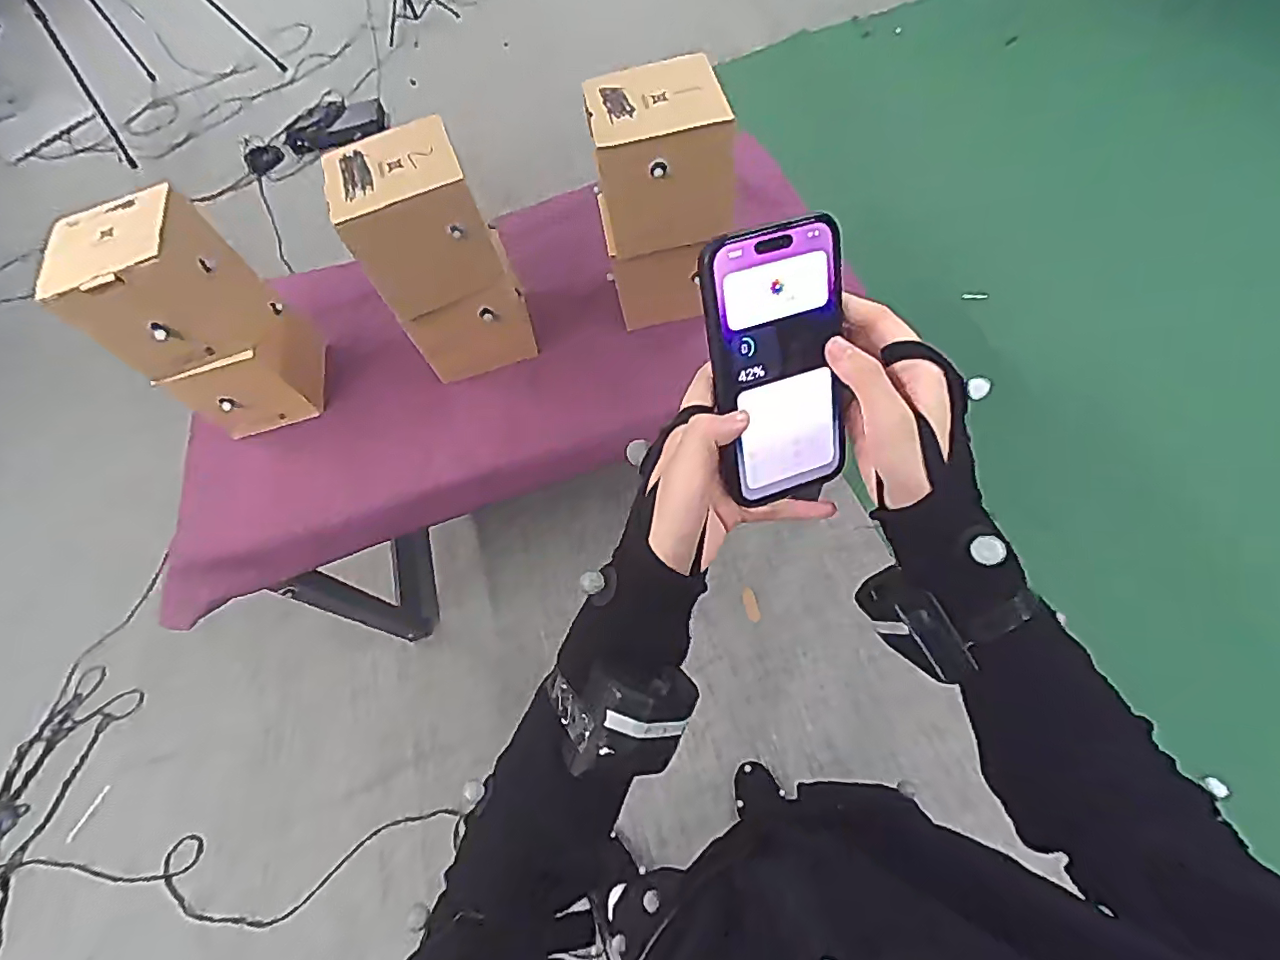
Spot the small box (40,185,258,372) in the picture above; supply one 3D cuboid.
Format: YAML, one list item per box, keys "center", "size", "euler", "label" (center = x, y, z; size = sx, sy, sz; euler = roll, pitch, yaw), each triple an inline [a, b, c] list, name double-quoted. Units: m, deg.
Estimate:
- center: [-0.697, -0.283, 0.792]
  size: [0.168, 0.176, 0.179]
  euler: [-21, 62, -3]
  label: "small box"

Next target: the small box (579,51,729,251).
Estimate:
- center: [0.024, -0.453, 0.763]
  size: [0.179, 0.176, 0.168]
  euler: [-12, 61, 2]
  label: "small box"

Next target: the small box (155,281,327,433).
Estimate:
- center: [-0.671, -0.201, 0.933]
  size: [0.168, 0.176, 0.179]
  euler: [-17, 61, 0]
  label: "small box"

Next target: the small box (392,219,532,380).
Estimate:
- center: [-0.293, -0.300, 0.920]
  size: [0.179, 0.176, 0.168]
  euler: [-17, 61, 0]
  label: "small box"

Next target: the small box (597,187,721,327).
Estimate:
- center: [0.036, -0.389, 0.914]
  size: [0.179, 0.176, 0.168]
  euler: [-12, 61, 4]
  label: "small box"
